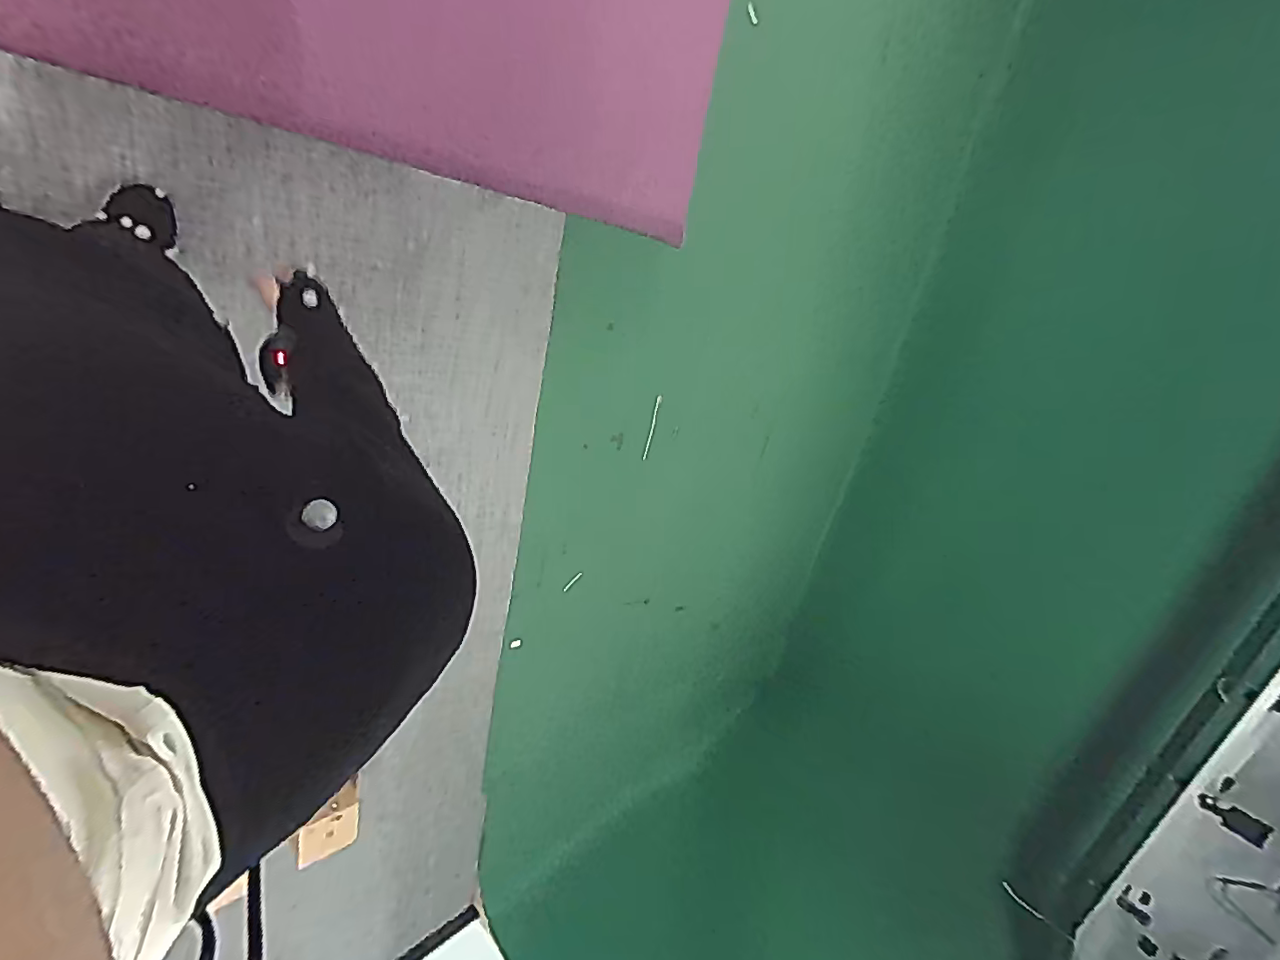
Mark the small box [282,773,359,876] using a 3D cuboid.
[{"bbox_3d":[-1.001,1.065,1.689,0.168,0.176,0.179,-7,120,-47],"label":"small box"}]
